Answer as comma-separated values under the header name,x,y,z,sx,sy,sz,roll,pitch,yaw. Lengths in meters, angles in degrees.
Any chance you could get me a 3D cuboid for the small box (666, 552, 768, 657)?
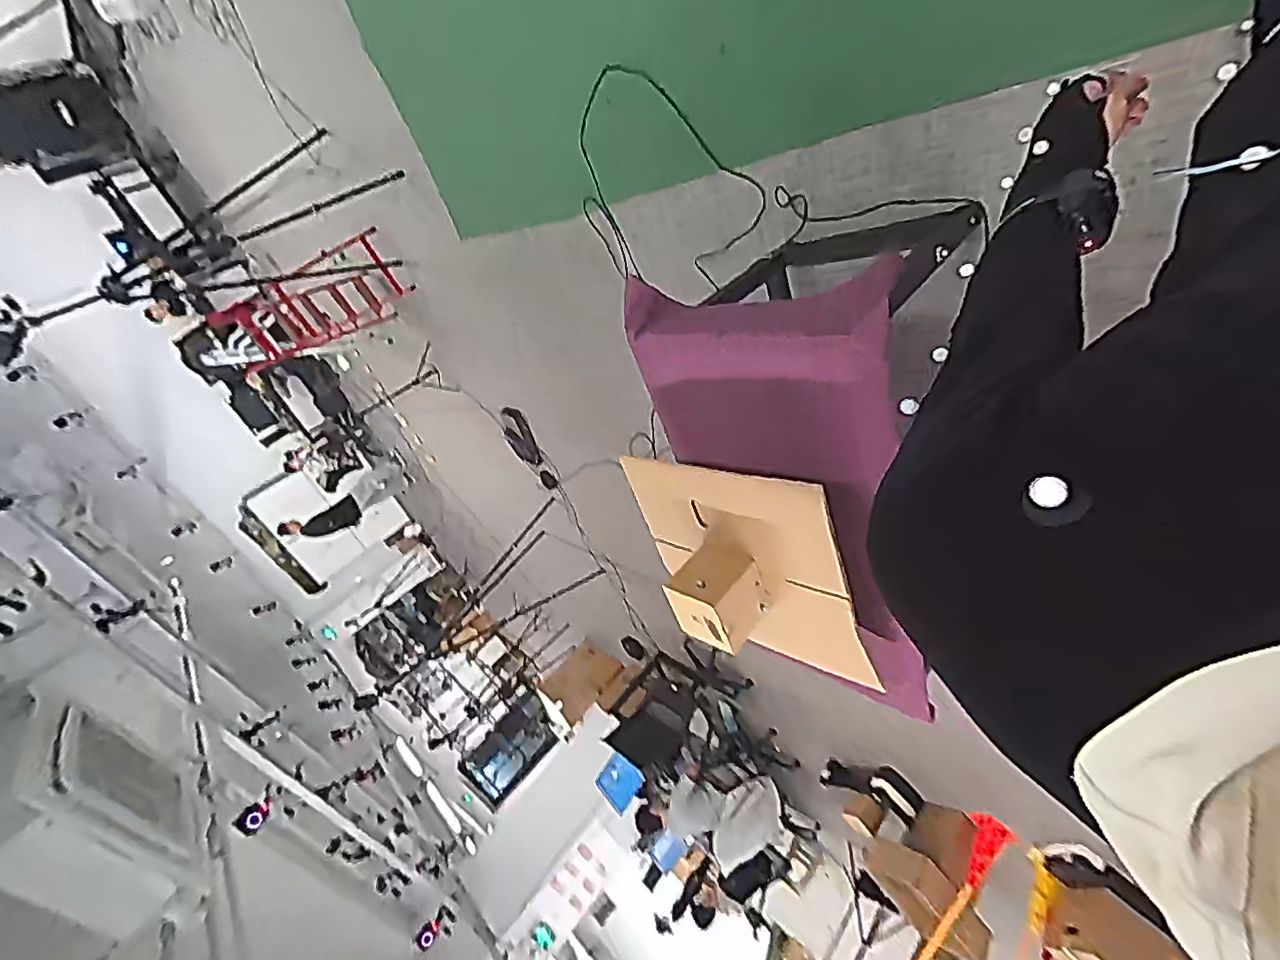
name,x,y,z,sx,sy,sz,roll,pitch,yaw
small box,0.200,0.302,1.352,0.179,0.176,0.168,11,133,48
